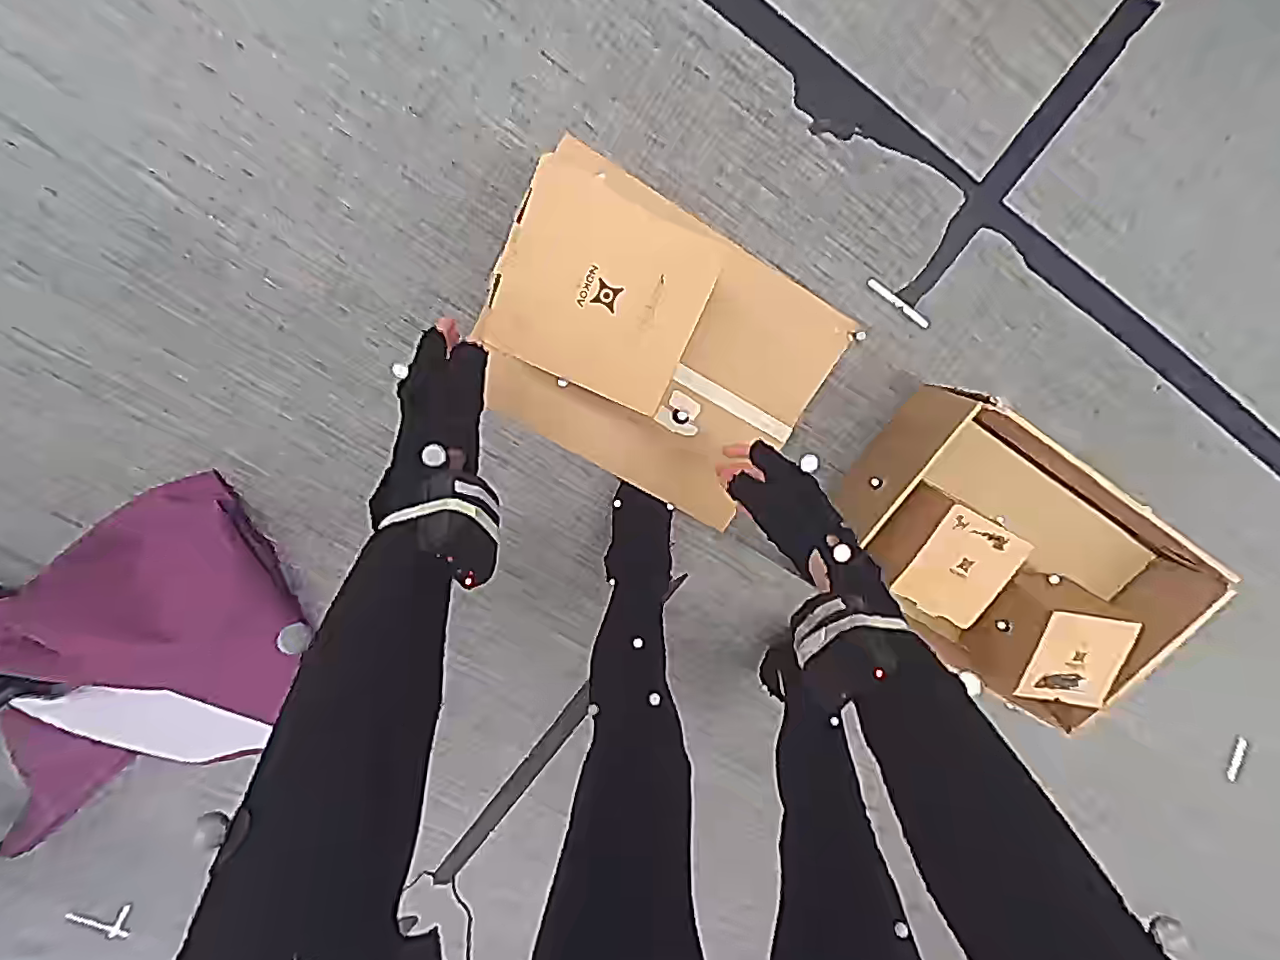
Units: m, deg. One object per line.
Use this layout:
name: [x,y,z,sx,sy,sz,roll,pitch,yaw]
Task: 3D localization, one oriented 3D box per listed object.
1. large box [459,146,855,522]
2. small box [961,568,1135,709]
large box: [0.012,-0.200,0.804,0.408,0.320,0.320,28,106,-11]
small box: [0.740,0.289,1.007,0.168,0.176,0.179,10,107,-4]
